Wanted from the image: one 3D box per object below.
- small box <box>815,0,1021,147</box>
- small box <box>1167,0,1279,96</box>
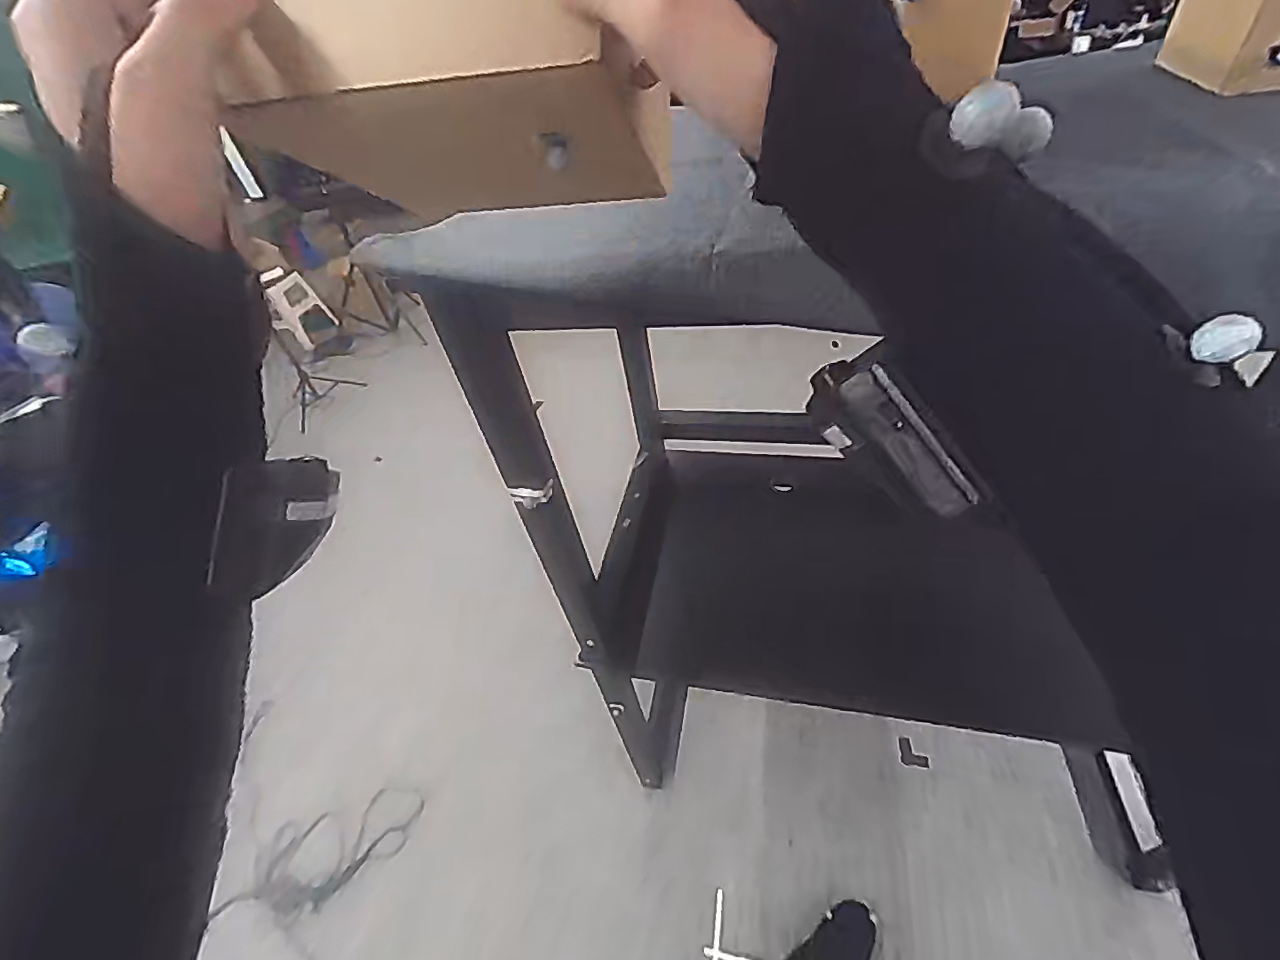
[{"bbox_3d":[0.293,-0.479,0.581,0.179,0.176,0.168,7,46,19],"label":"small box"},{"bbox_3d":[0.649,-0.470,0.495,0.168,0.176,0.179,6,45,17],"label":"small box"}]
